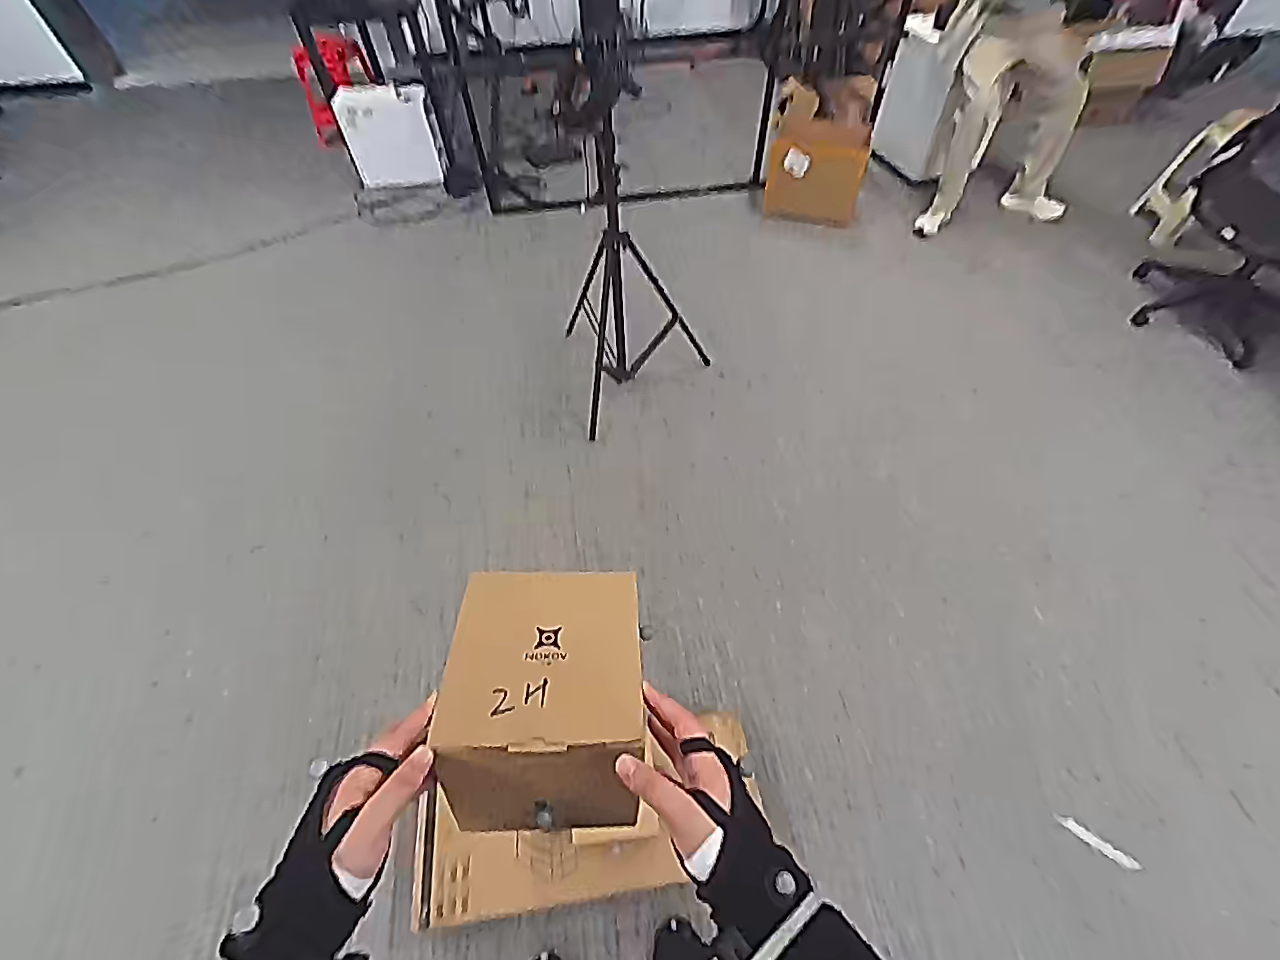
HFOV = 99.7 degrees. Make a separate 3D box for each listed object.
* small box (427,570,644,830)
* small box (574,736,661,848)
[{"bbox_3d":[-0.086,0.206,0.519,0.168,0.176,0.179,0,39,-3],"label":"small box"},{"bbox_3d":[-0.048,0.649,1.121,0.168,0.176,0.179,-5,54,-2],"label":"small box"}]
